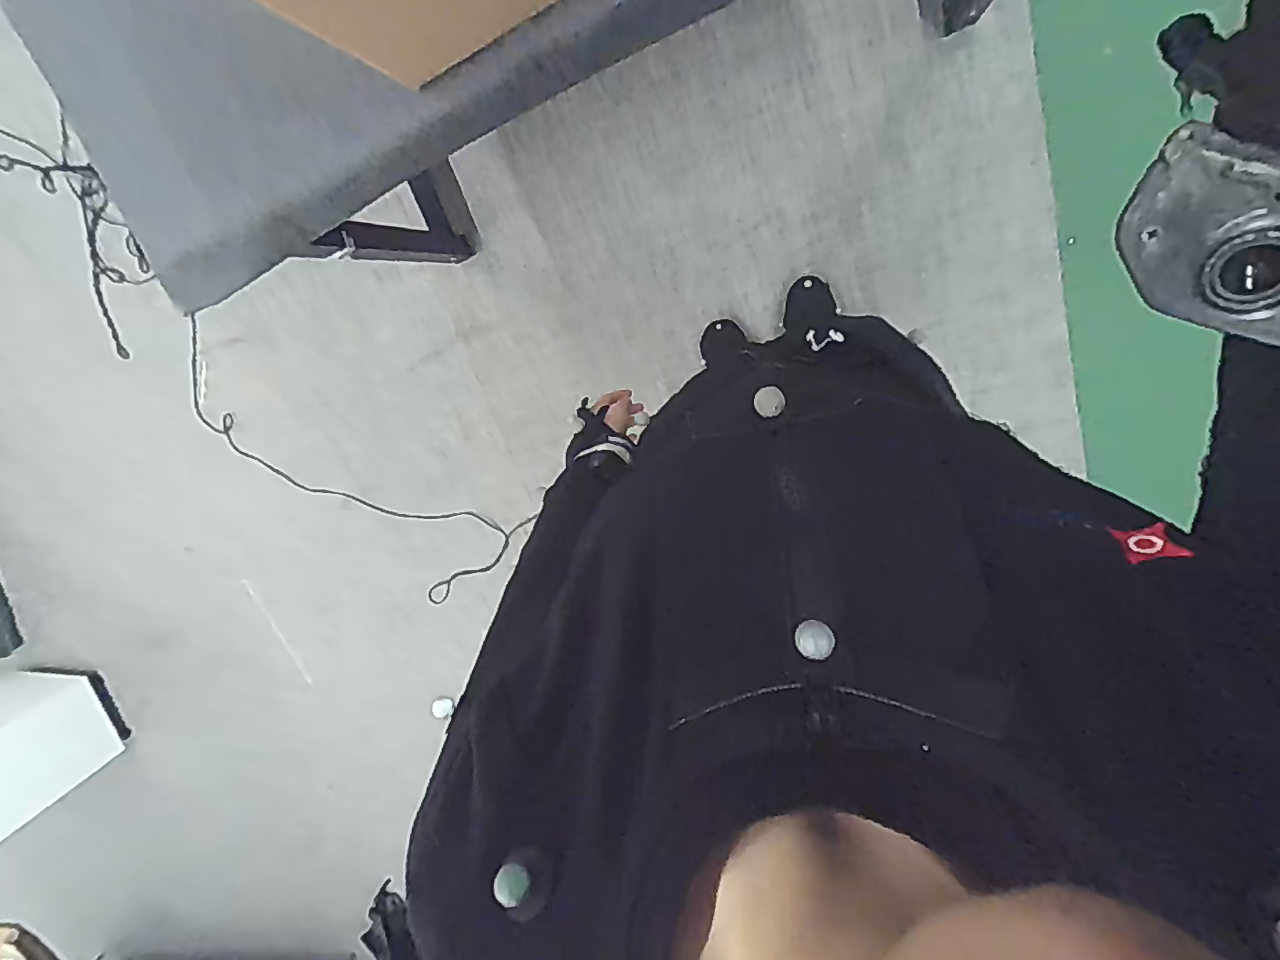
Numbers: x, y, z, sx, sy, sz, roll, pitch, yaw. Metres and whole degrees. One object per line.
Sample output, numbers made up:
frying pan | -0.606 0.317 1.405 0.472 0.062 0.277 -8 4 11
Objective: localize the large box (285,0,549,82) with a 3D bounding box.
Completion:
large box | -0.137 -0.553 0.328 0.408 0.320 0.320 -17 104 17
